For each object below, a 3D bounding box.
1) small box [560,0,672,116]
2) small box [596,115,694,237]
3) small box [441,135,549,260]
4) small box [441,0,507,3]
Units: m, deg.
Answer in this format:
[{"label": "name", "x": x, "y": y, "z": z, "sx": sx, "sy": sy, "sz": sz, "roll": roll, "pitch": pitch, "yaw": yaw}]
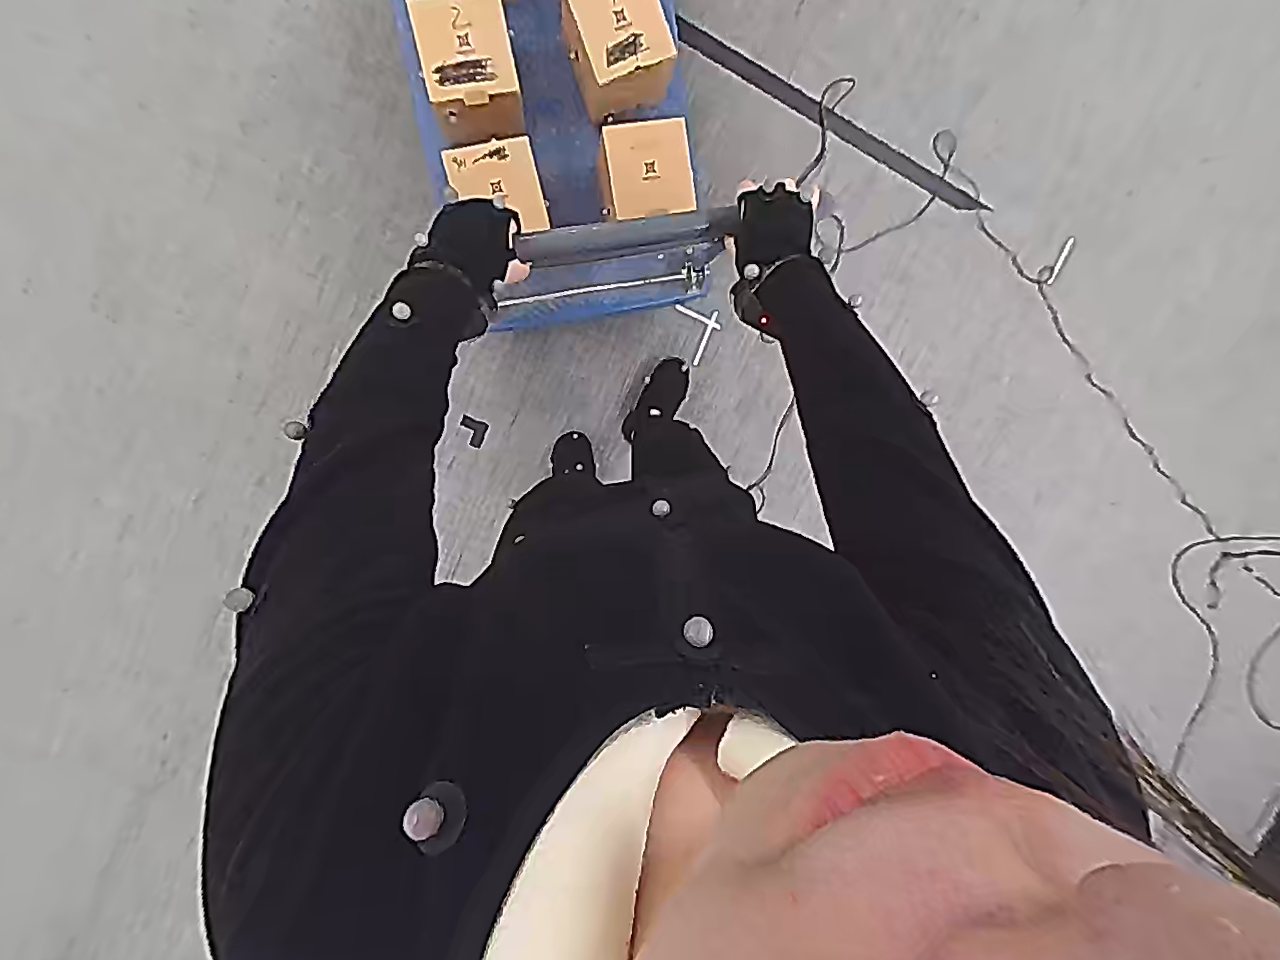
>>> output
[{"label": "small box", "x": -0.052, "y": -0.869, "z": 1.081, "sx": 0.168, "sy": 0.176, "sz": 0.179, "roll": -23, "pitch": 101, "yaw": -5}, {"label": "small box", "x": 0.006, "y": -0.622, "z": 1.131, "sx": 0.168, "sy": 0.176, "sz": 0.179, "roll": -11, "pitch": 100, "yaw": -8}, {"label": "small box", "x": -0.283, "y": -0.558, "z": 1.095, "sx": 0.168, "sy": 0.176, "sz": 0.179, "roll": -15, "pitch": 101, "yaw": -7}, {"label": "small box", "x": -0.335, "y": -1.047, "z": 1.008, "sx": 0.168, "sy": 0.176, "sz": 0.179, "roll": -10, "pitch": 101, "yaw": -7}]
